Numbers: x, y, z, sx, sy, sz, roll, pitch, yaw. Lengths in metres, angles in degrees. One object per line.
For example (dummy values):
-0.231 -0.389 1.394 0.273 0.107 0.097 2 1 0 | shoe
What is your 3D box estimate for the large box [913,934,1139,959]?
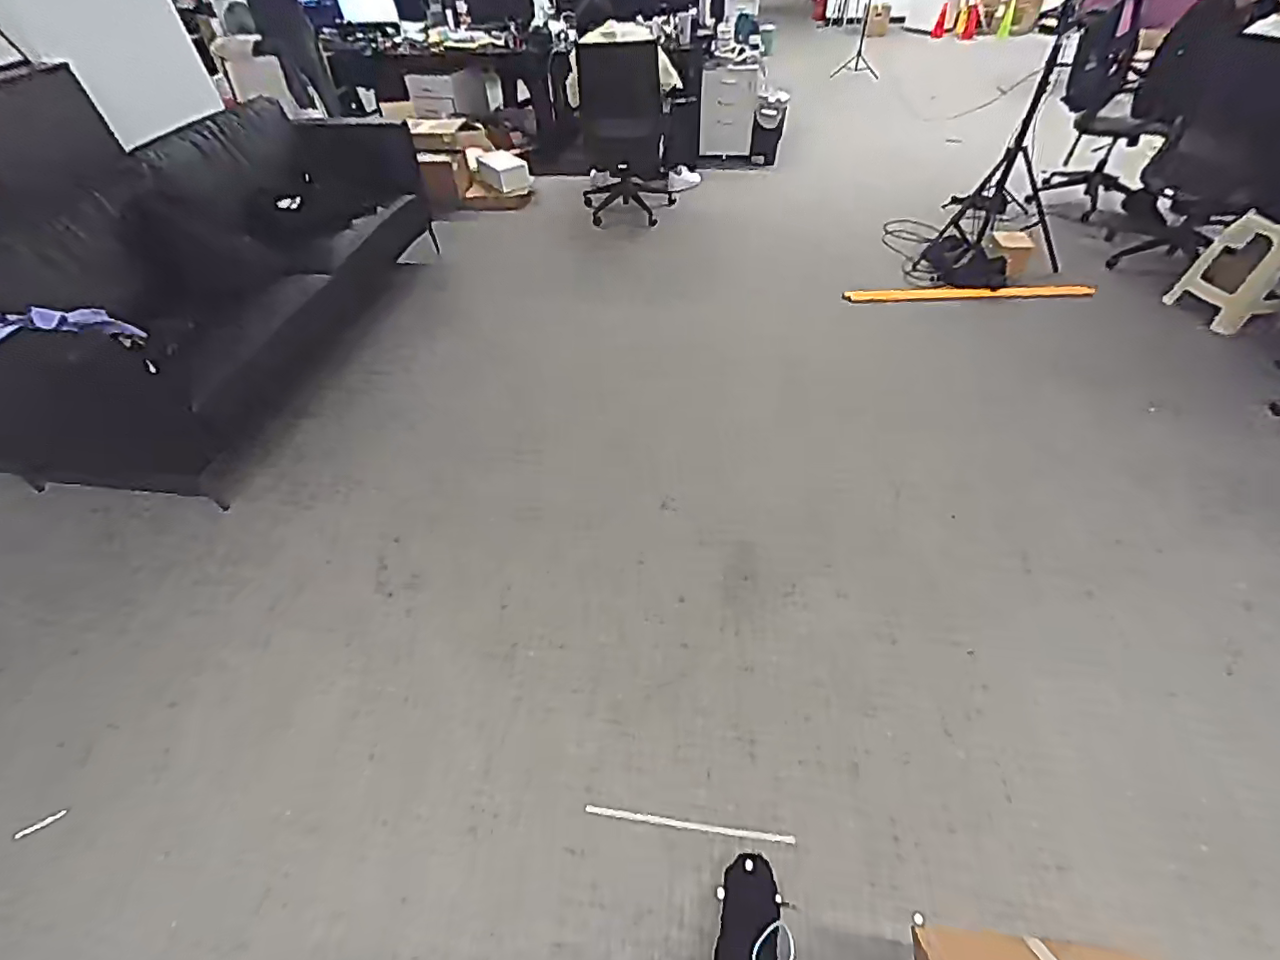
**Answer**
0.525 0.788 0.562 0.320 0.408 0.320 2 81 8 | large box
